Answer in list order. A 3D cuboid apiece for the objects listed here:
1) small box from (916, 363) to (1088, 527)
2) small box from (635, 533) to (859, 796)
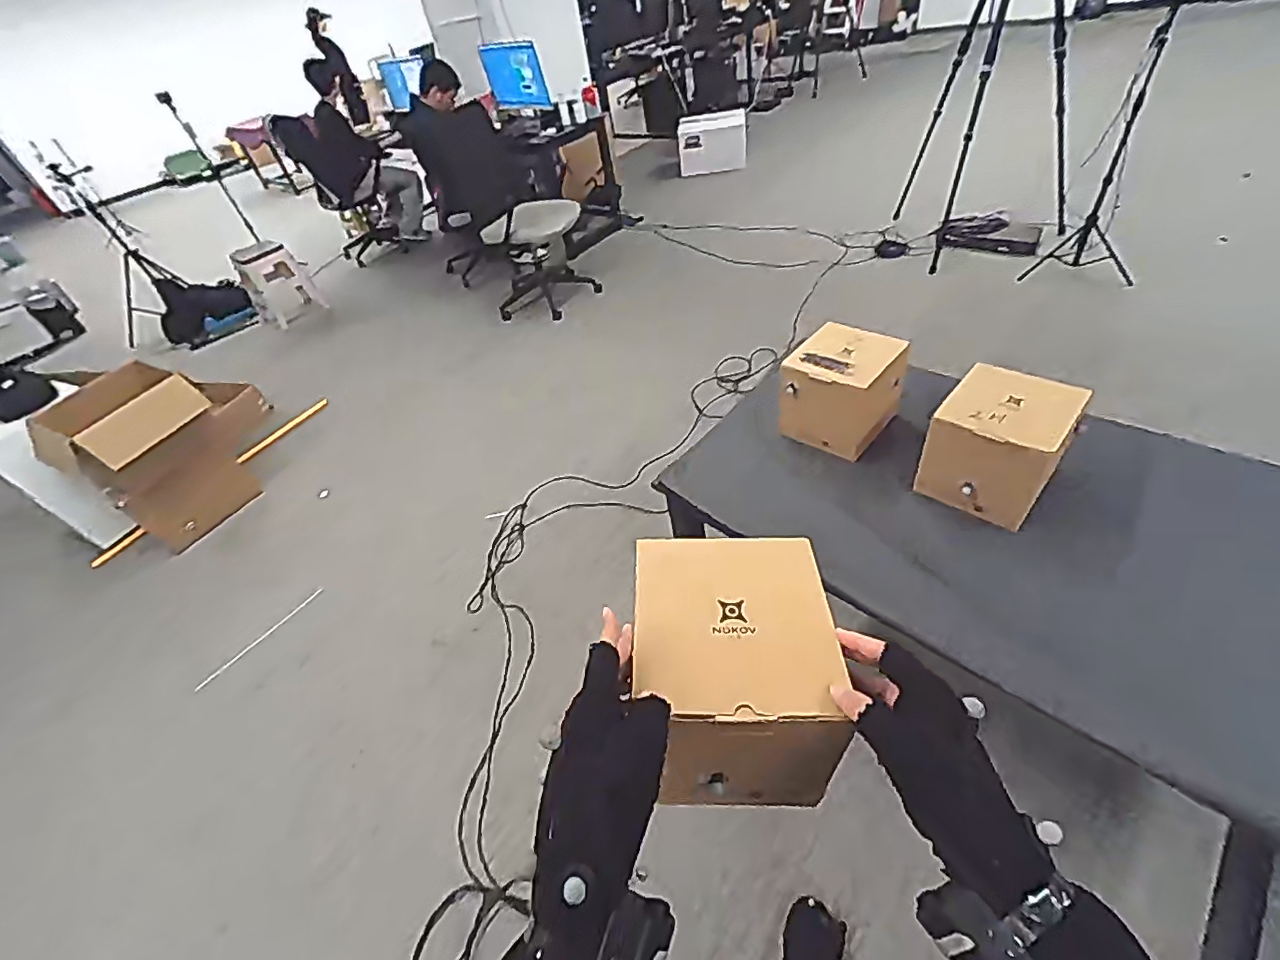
[{"bbox_3d":[0.578,-0.058,0.883,0.168,0.176,0.179,29,58,35],"label":"small box"},{"bbox_3d":[0.081,0.170,0.508,0.168,0.176,0.179,0,42,2],"label":"small box"}]
